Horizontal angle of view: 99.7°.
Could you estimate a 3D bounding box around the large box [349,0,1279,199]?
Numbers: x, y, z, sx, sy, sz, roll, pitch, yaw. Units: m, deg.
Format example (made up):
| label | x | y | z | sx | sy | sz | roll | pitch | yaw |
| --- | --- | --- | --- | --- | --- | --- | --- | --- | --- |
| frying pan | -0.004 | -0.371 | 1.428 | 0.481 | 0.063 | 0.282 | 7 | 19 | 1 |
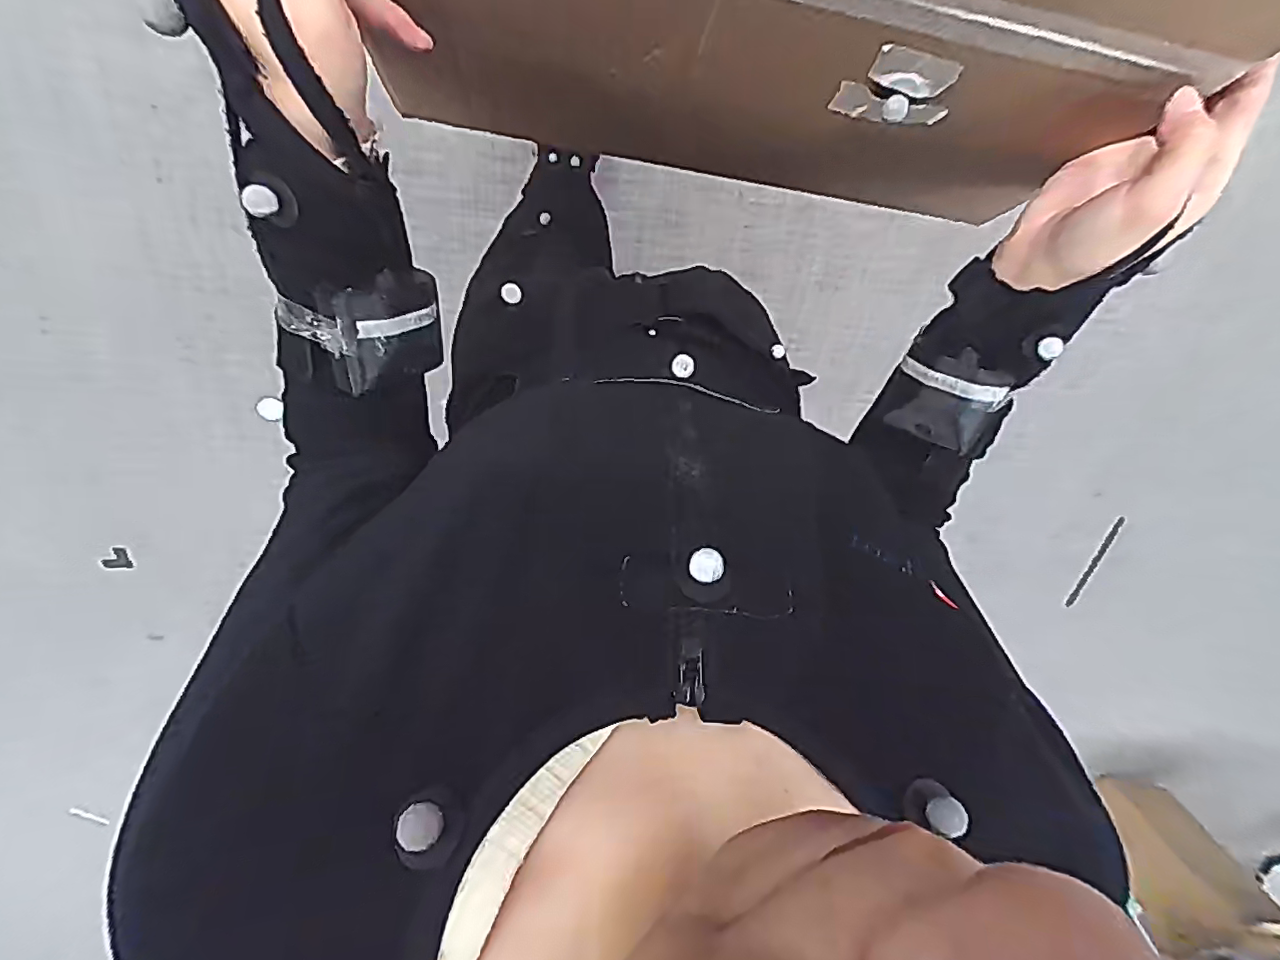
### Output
| label | x | y | z | sx | sy | sz | roll | pitch | yaw |
| --- | --- | --- | --- | --- | --- | --- | --- | --- | --- |
| large box | 0.076 | -0.363 | 0.212 | 0.408 | 0.320 | 0.320 | 5 | 93 | -8 |
